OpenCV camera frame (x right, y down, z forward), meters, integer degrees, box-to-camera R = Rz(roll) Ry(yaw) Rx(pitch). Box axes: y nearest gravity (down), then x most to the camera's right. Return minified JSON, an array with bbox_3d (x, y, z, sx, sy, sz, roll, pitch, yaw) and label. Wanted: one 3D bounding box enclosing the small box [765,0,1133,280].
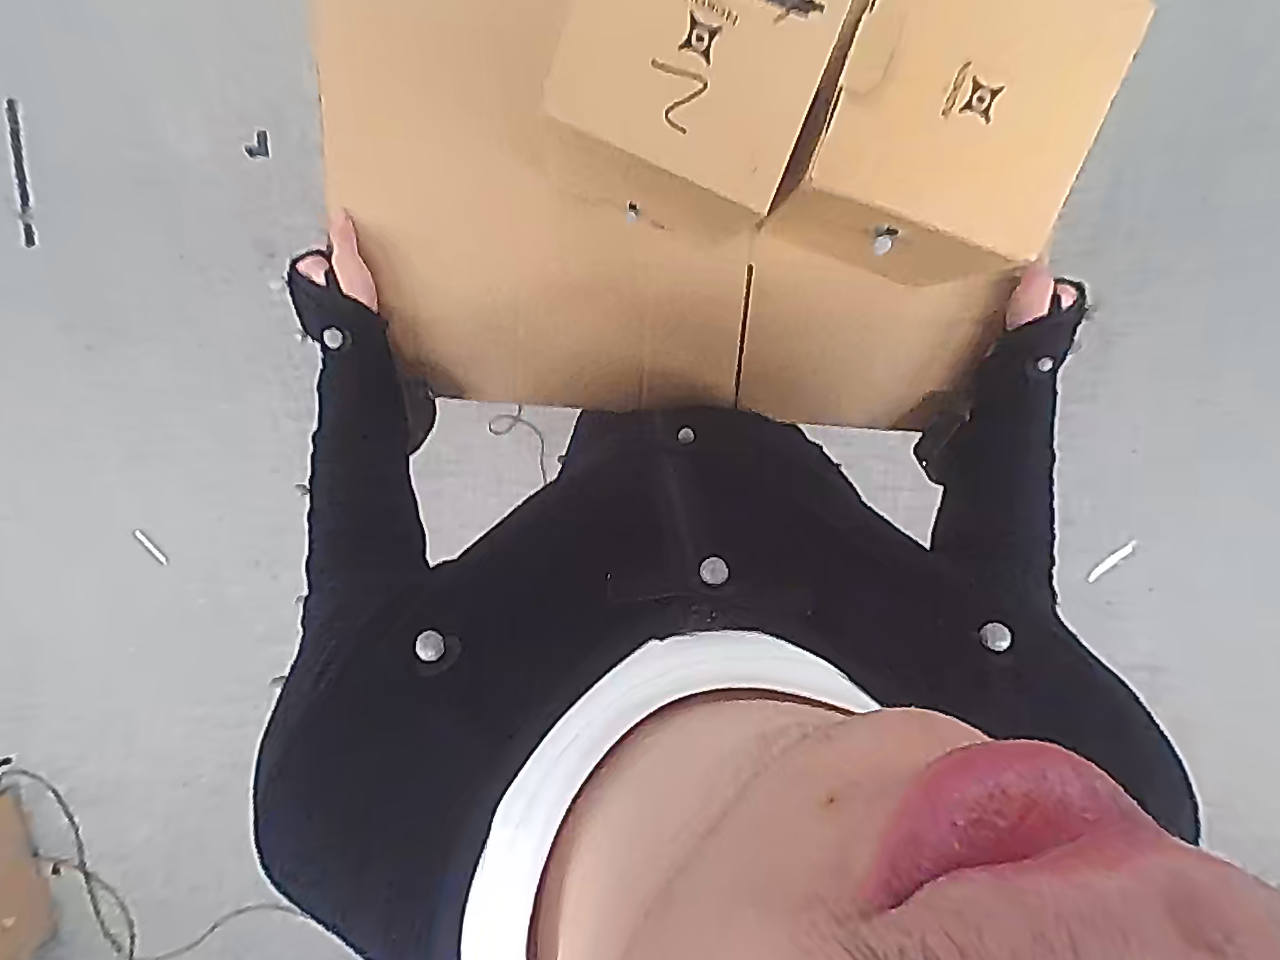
[{"bbox_3d":[0.227,-0.279,0.453,0.179,0.176,0.168,18,103,-3],"label":"small box"}]
